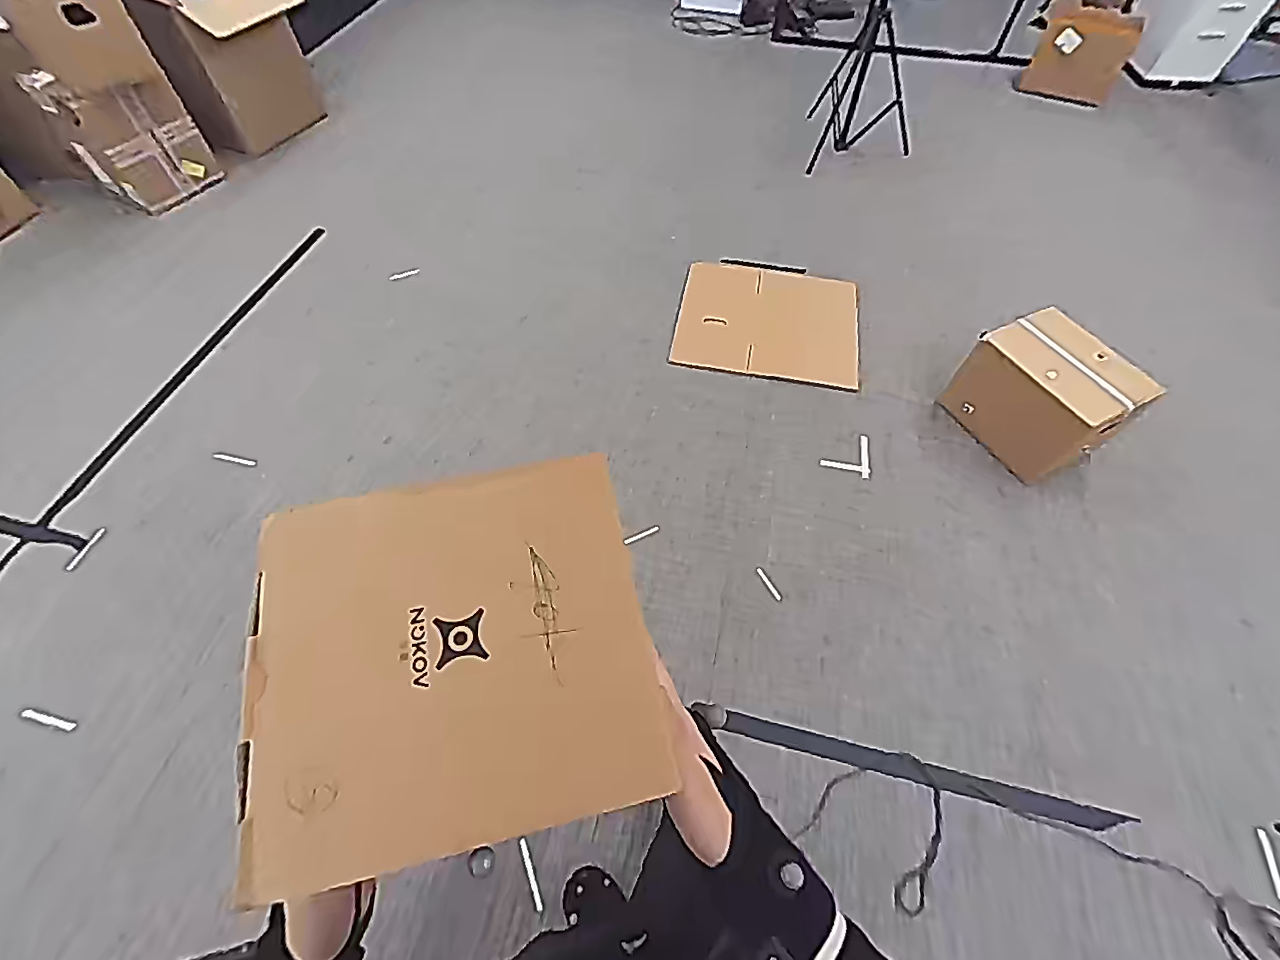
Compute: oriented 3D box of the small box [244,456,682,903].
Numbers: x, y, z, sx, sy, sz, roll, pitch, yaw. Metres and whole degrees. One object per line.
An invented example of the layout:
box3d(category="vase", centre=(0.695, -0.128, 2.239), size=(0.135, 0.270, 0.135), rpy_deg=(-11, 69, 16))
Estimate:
box3d(category="small box", centre=(-0.086, 0.109, 0.319), size=(0.179, 0.176, 0.168), rpy_deg=(-11, 65, -9))
